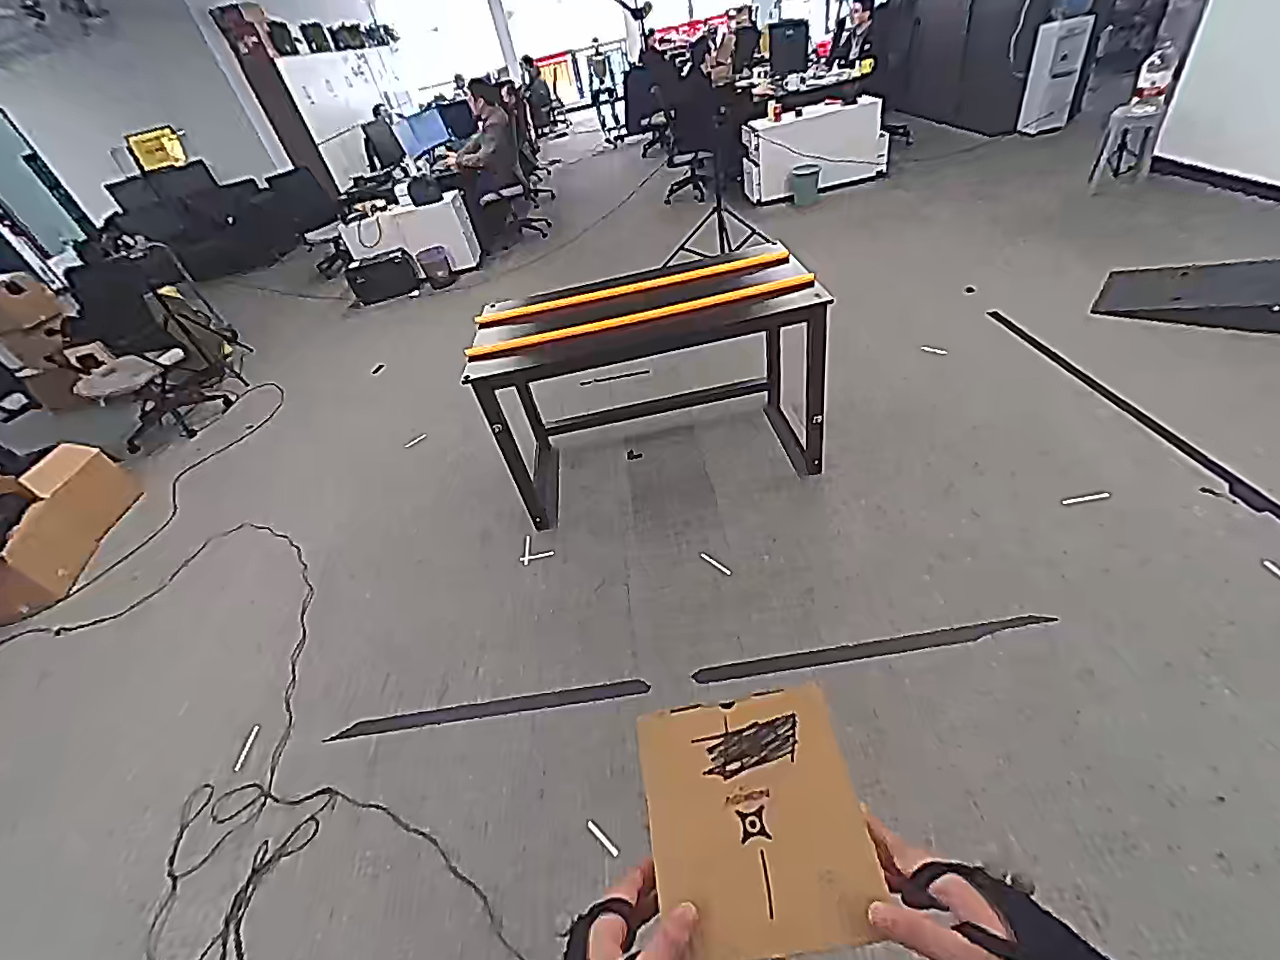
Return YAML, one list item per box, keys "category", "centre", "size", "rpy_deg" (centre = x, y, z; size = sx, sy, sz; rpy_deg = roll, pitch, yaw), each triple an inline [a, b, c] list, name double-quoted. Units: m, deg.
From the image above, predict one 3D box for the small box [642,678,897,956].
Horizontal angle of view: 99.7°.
- category: "small box"
  centre: [0.104, 0.308, 0.491]
  size: [0.168, 0.176, 0.179]
  rpy_deg: [-13, 49, 4]
